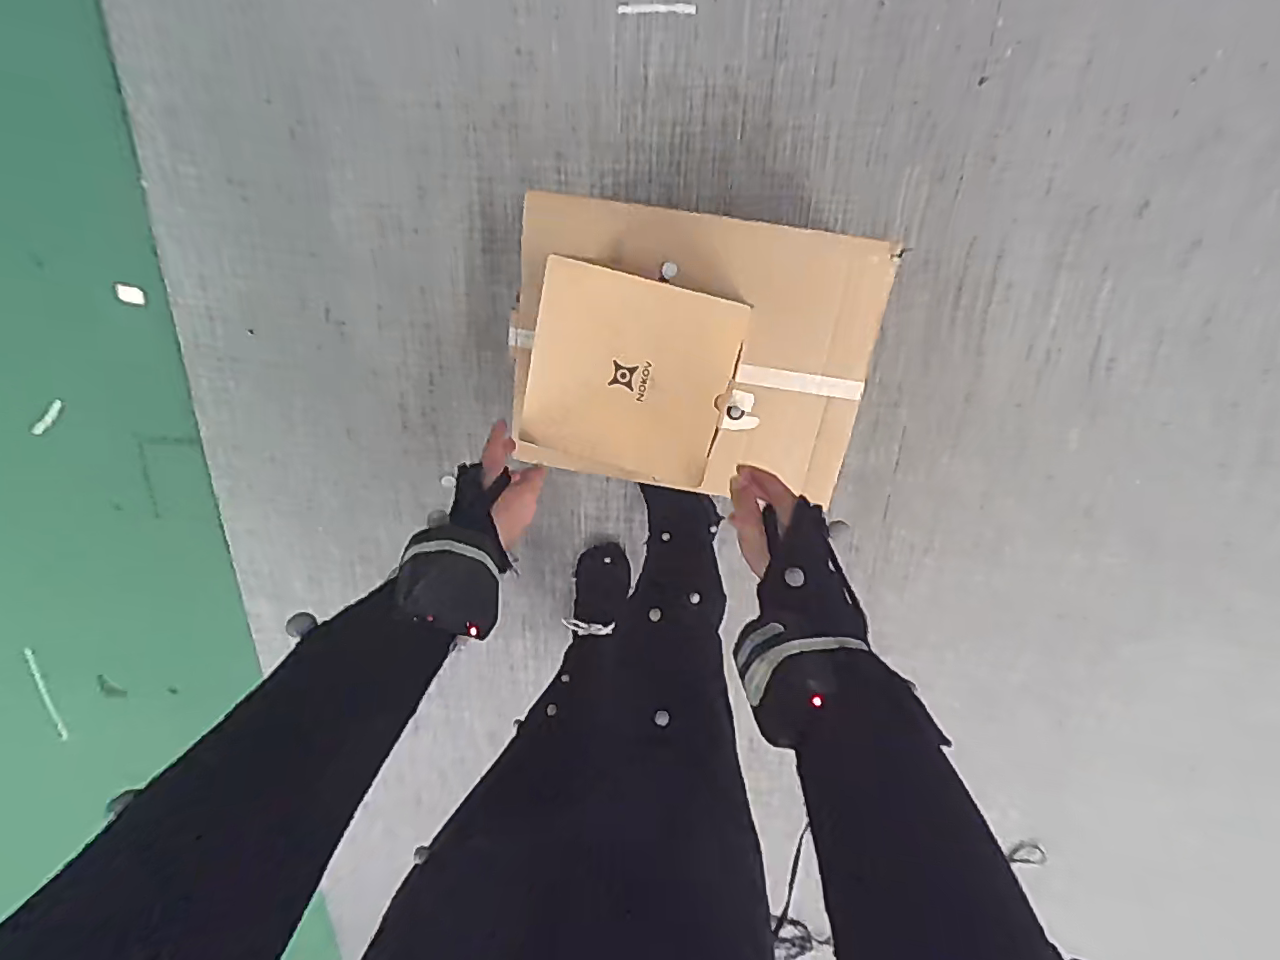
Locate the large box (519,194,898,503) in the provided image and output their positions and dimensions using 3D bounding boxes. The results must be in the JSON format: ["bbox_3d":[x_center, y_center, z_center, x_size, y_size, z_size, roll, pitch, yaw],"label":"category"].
[{"bbox_3d":[0.070,-0.190,0.764,0.408,0.320,0.320,9,112,2],"label":"large box"}]

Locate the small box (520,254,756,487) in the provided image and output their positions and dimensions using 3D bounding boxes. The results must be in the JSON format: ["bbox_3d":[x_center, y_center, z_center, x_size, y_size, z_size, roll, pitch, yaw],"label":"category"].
[{"bbox_3d":[0.000,-0.114,0.540,0.179,0.176,0.168,15,111,1],"label":"small box"}]
